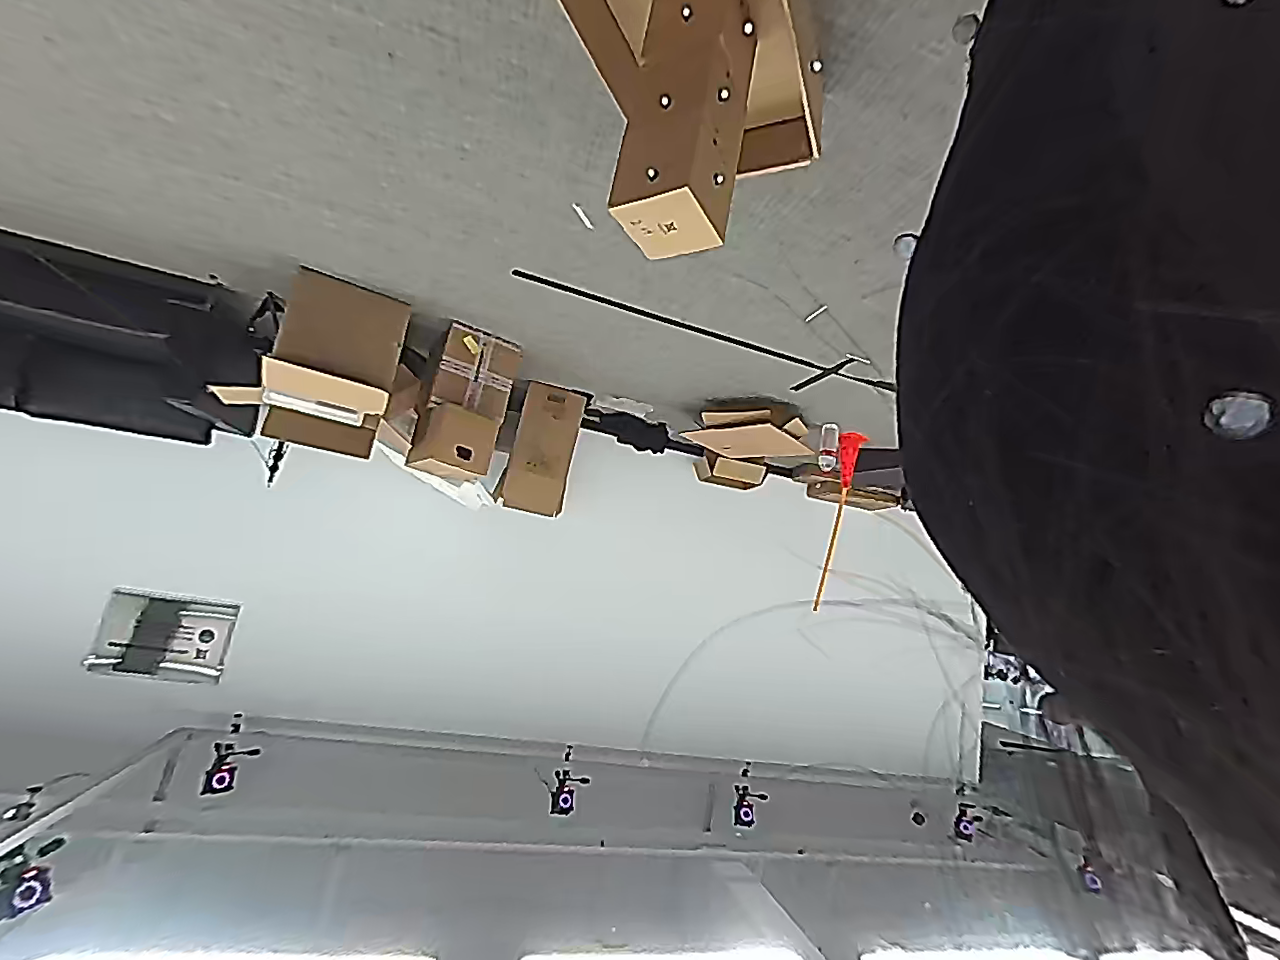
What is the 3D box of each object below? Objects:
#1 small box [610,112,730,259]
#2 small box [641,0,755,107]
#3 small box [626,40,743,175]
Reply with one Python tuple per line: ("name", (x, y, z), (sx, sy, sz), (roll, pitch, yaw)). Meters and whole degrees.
("small box", (0.067, -0.566, 1.051), (0.179, 0.176, 0.168), (3, 166, 33))
("small box", (0.124, -0.883, 1.110), (0.179, 0.176, 0.168), (4, 168, 28))
("small box", (0.097, -0.726, 1.088), (0.179, 0.176, 0.168), (5, 167, 33))
